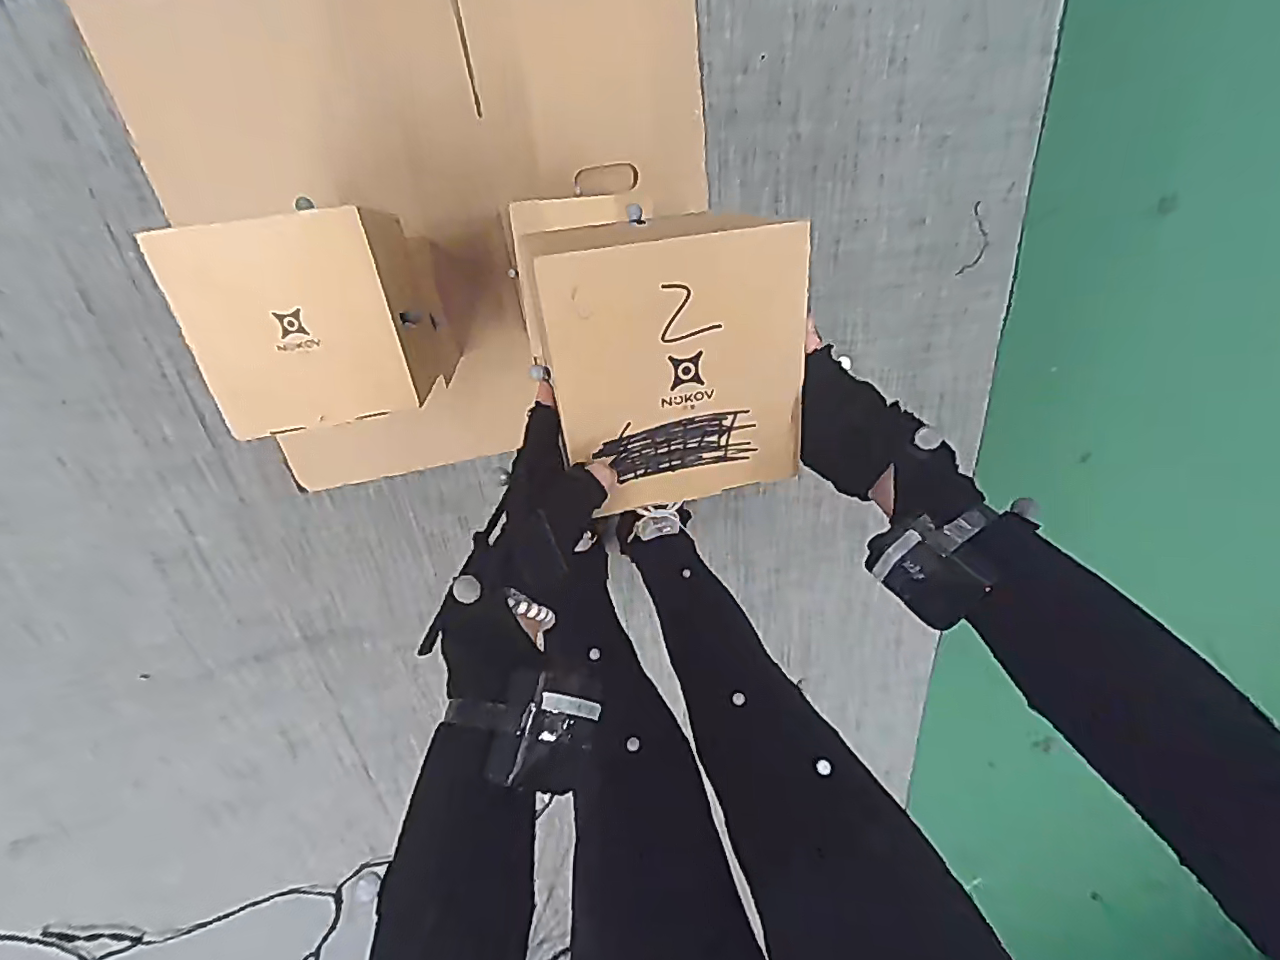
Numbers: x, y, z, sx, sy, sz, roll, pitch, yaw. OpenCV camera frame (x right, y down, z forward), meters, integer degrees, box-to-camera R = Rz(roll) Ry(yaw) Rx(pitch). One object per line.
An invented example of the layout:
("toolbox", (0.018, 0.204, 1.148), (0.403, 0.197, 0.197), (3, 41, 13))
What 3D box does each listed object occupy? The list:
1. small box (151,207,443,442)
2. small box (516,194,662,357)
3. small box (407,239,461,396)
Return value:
("small box", (-0.306, -0.158, 0.533), (0.168, 0.176, 0.179), (-12, 117, -7))
("small box", (-0.072, -0.274, 0.719), (0.168, 0.176, 0.179), (-8, 117, -8))
("small box", (-0.339, -0.199, 0.690), (0.168, 0.176, 0.179), (-14, 117, -6))
